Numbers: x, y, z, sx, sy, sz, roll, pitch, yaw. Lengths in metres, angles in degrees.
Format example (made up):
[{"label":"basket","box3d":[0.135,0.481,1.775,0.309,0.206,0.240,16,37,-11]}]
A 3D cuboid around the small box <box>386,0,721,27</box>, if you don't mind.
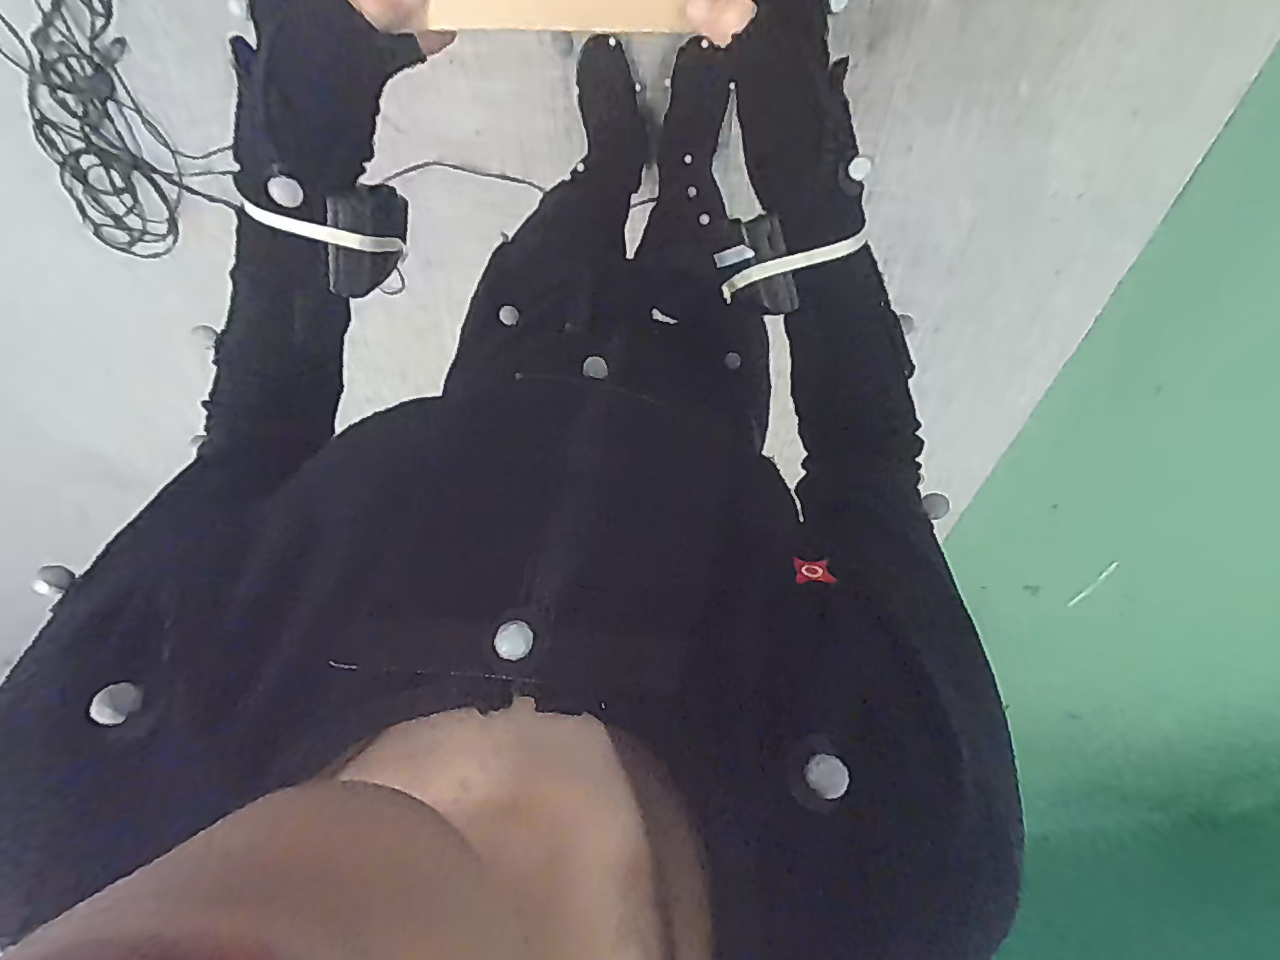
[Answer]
[{"label":"small box","box3d":[-0.041,-0.341,0.264,0.168,0.176,0.179,1,133,-1]}]
